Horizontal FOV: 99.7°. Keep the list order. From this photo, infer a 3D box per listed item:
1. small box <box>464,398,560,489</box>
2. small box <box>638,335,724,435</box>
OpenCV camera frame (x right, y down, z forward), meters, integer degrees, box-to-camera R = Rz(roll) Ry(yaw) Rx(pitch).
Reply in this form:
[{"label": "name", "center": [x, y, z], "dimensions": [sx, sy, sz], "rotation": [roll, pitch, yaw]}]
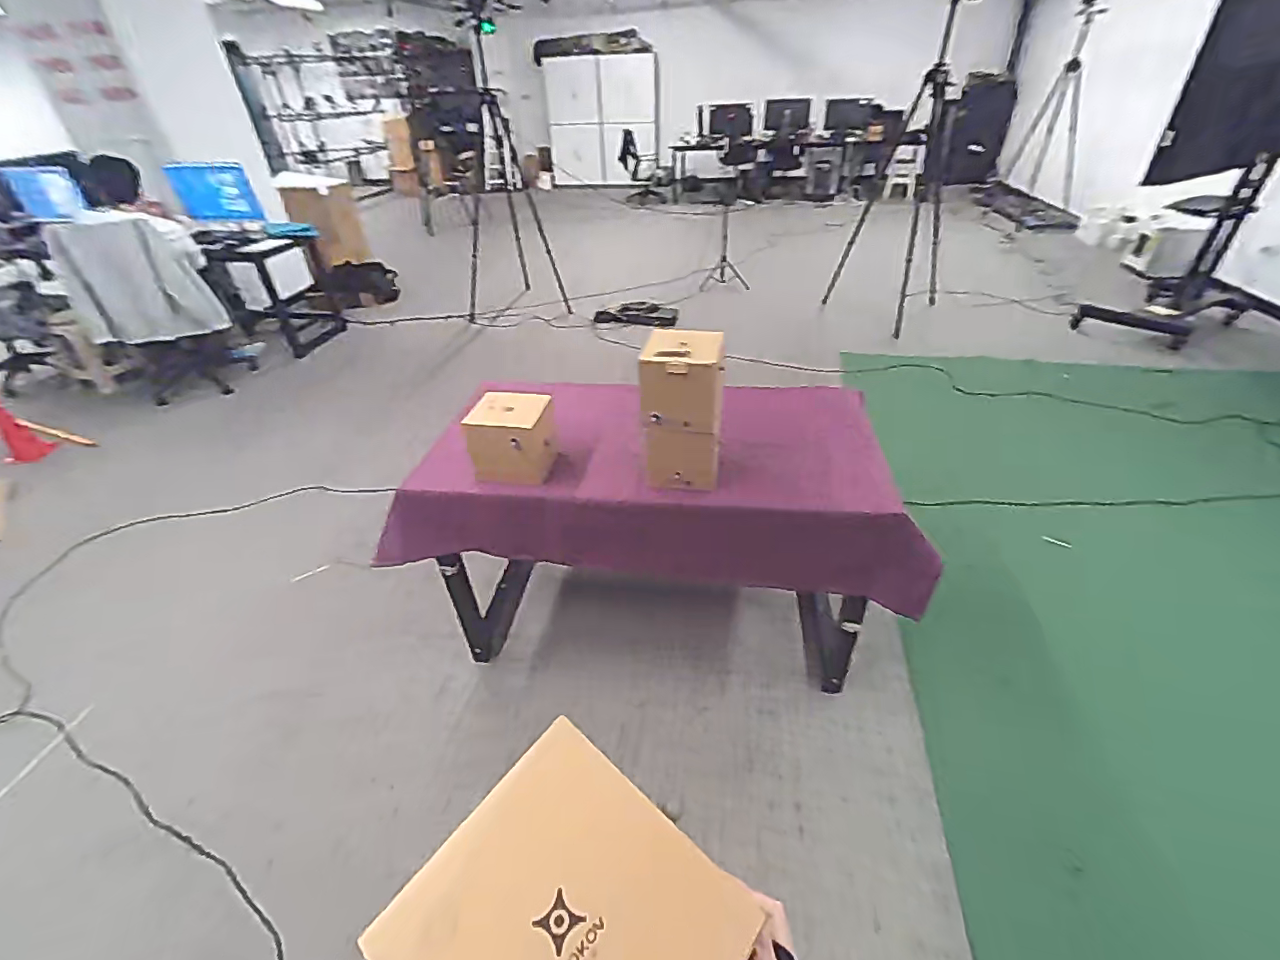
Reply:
[{"label": "small box", "center": [-0.313, -0.092, 1.369], "dimensions": [0.179, 0.176, 0.168], "rotation": [4, 36, 10]}, {"label": "small box", "center": [0.099, -0.216, 1.223], "dimensions": [0.168, 0.176, 0.179], "rotation": [5, 36, 12]}]
